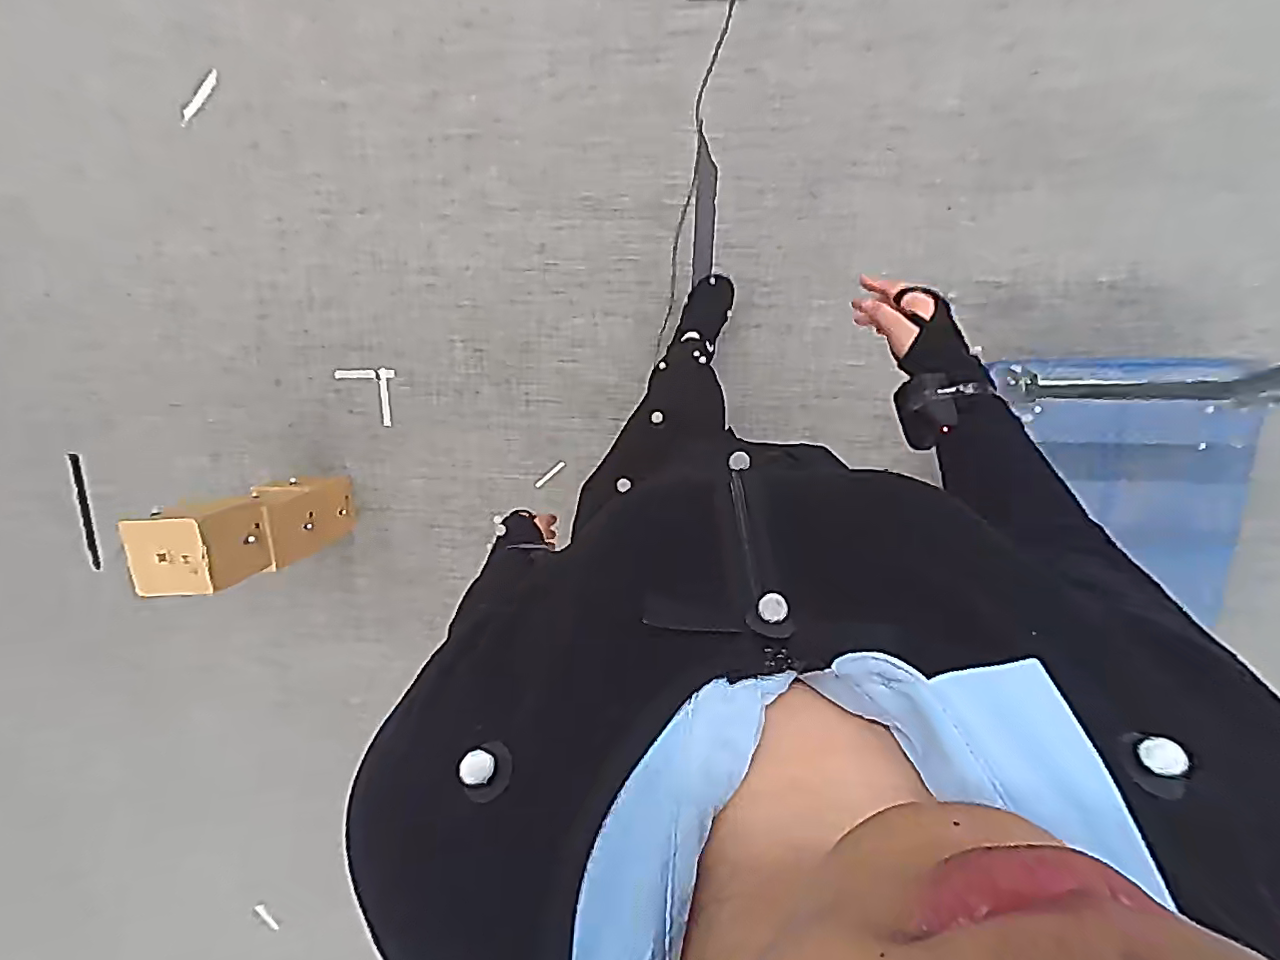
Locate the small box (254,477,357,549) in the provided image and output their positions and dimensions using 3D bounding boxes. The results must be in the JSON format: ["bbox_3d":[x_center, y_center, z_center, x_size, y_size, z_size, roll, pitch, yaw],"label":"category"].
[{"bbox_3d":[-0.923,0.088,1.505,0.179,0.176,0.168,1,101,4],"label":"small box"}]

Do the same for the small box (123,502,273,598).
[{"bbox_3d":[-0.955,0.148,1.183,0.179,0.176,0.168,-3,101,4],"label":"small box"}]
